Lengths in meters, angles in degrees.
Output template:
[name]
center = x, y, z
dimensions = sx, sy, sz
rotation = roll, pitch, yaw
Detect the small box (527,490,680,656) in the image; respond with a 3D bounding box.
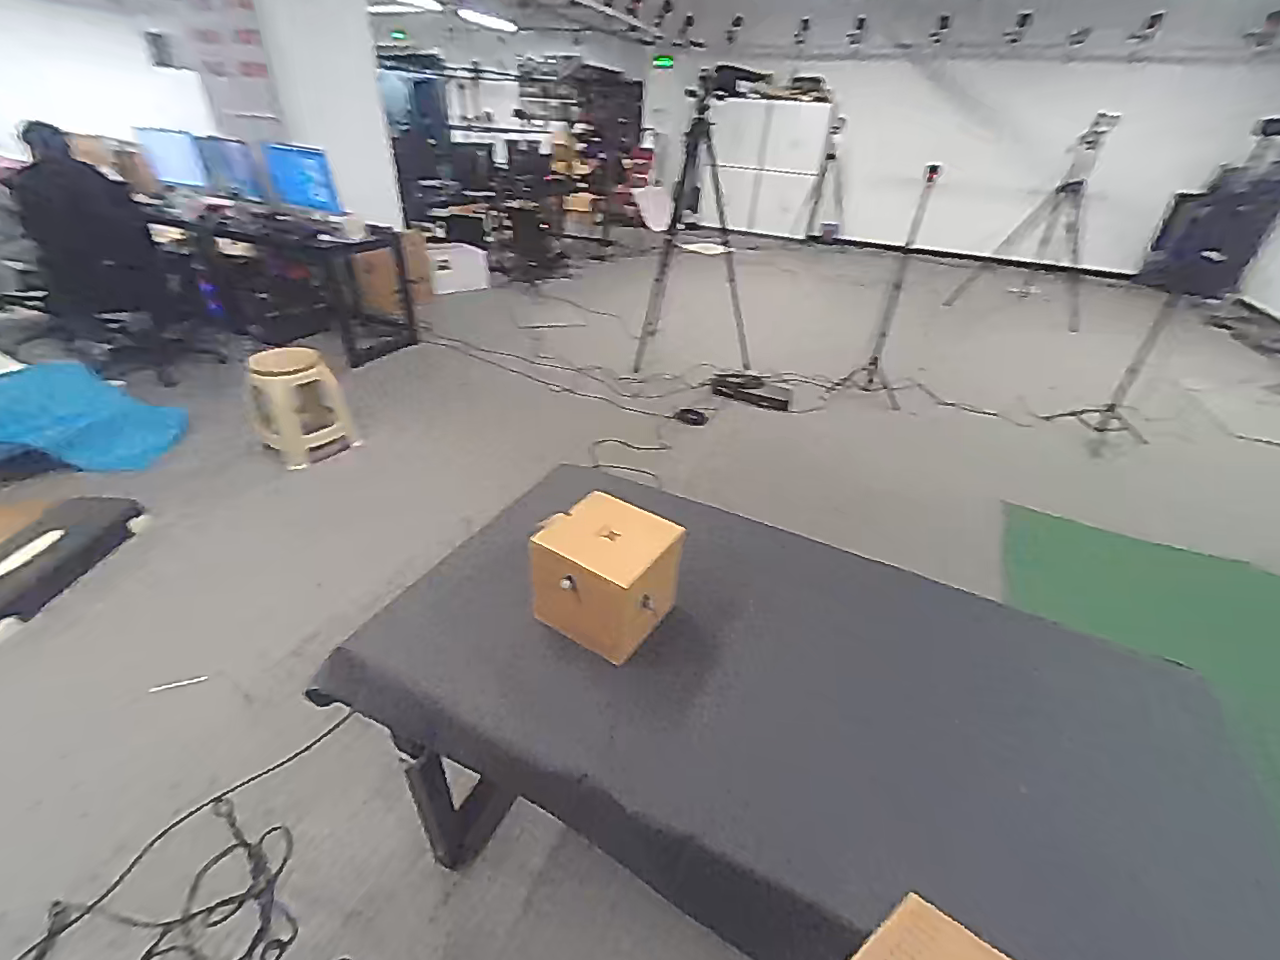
[small box]
center = -0.057, 0.148, 0.860
dimensions = 0.179, 0.176, 0.168
rotation = 22, 36, 25
